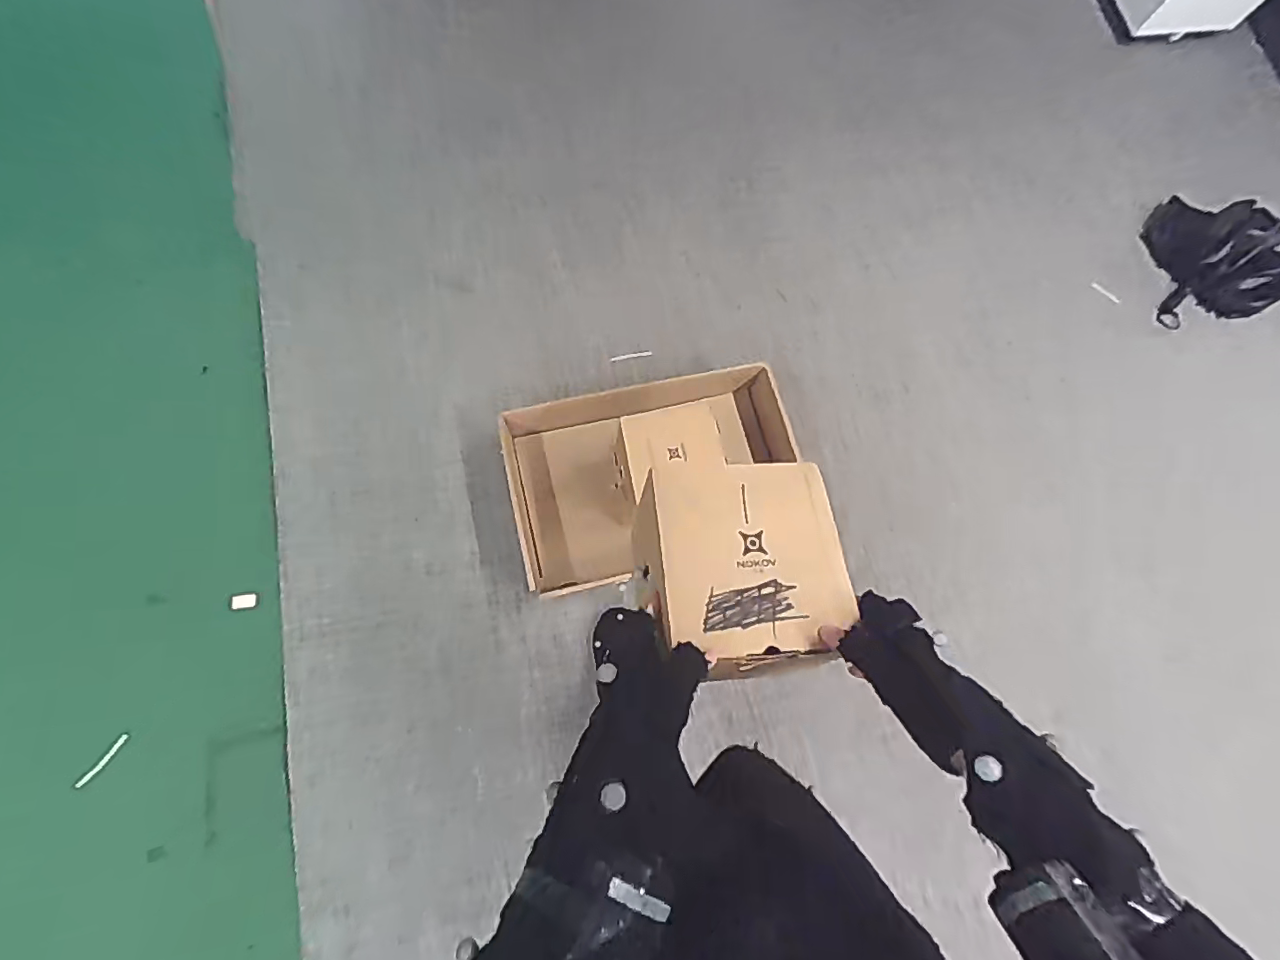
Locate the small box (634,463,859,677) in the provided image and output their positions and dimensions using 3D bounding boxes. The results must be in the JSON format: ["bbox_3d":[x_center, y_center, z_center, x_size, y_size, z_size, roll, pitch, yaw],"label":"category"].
[{"bbox_3d":[0.088,0.099,0.549,0.168,0.176,0.179,-1,63,-9],"label":"small box"}]

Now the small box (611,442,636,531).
[{"bbox_3d":[0.039,0.005,1.198,0.179,0.176,0.168,-14,76,-9],"label":"small box"}]

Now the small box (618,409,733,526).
[{"bbox_3d":[0.064,-0.016,1.018,0.179,0.176,0.168,-13,77,-9],"label":"small box"}]
